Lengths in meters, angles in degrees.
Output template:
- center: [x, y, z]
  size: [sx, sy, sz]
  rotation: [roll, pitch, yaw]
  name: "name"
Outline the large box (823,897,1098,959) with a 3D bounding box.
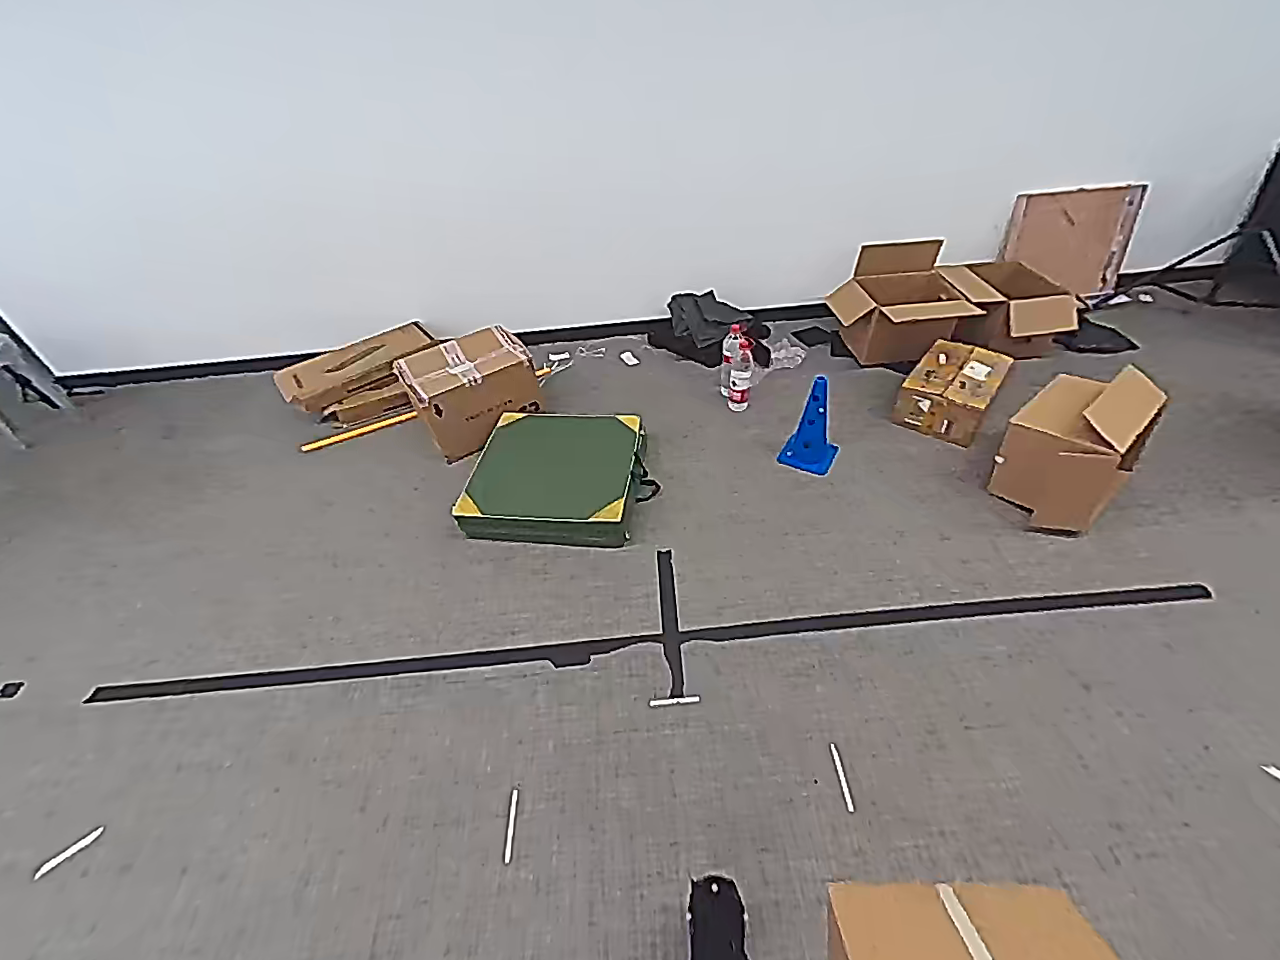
- center: [0.398, 0.742, 0.557]
  size: [0.320, 0.320, 0.408]
  rotation: [-4, 5, 5]
  name: "large box"
